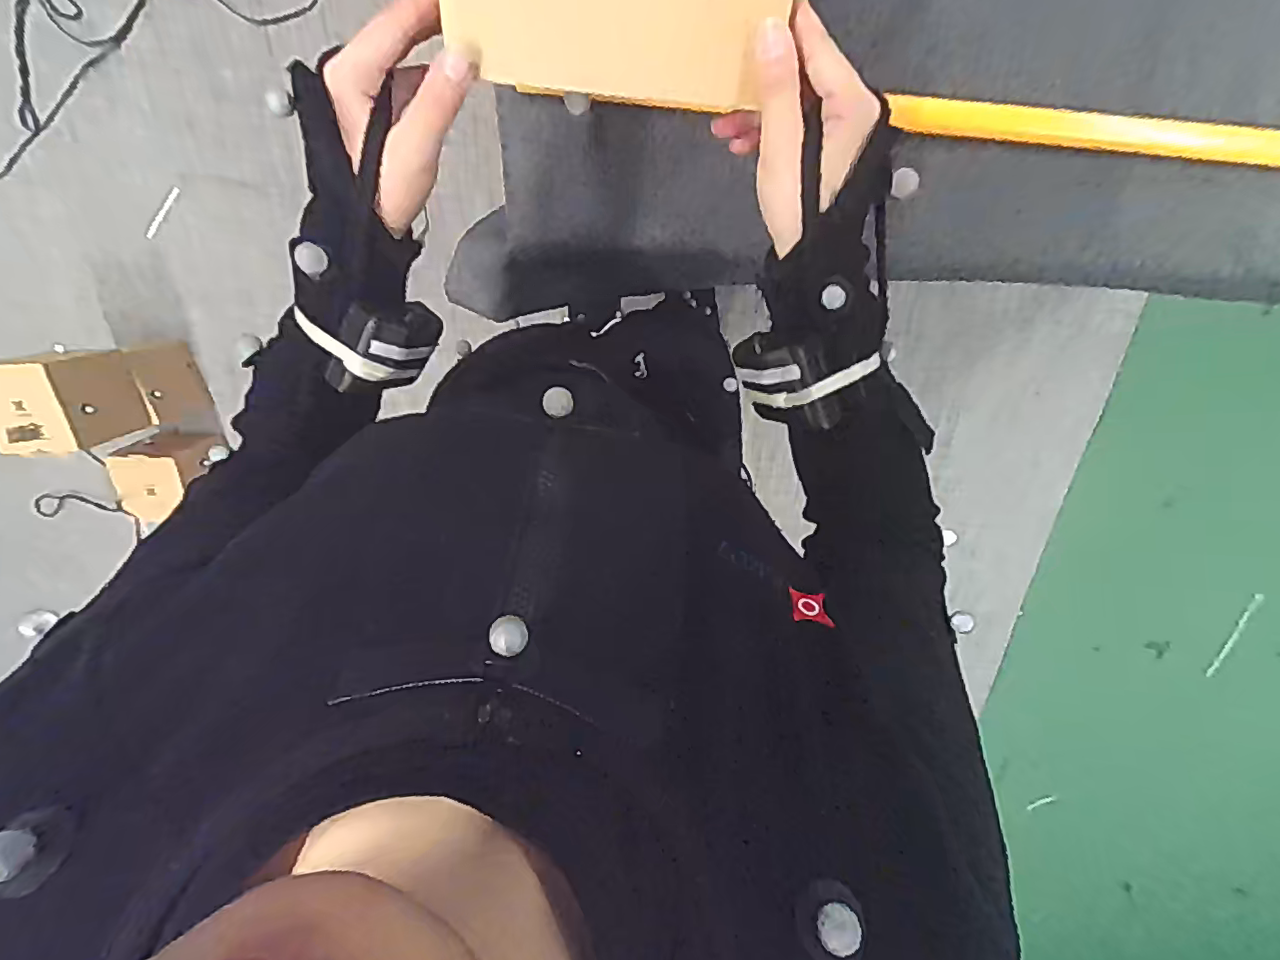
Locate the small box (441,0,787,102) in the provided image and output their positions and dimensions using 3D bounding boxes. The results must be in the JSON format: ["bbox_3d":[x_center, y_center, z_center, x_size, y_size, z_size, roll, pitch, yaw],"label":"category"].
[{"bbox_3d":[-0.009,-0.316,0.283,0.168,0.176,0.179,2,127,-4],"label":"small box"}]

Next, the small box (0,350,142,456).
[{"bbox_3d":[-1.178,-0.160,1.095,0.168,0.176,0.179,-2,113,1],"label":"small box"}]
